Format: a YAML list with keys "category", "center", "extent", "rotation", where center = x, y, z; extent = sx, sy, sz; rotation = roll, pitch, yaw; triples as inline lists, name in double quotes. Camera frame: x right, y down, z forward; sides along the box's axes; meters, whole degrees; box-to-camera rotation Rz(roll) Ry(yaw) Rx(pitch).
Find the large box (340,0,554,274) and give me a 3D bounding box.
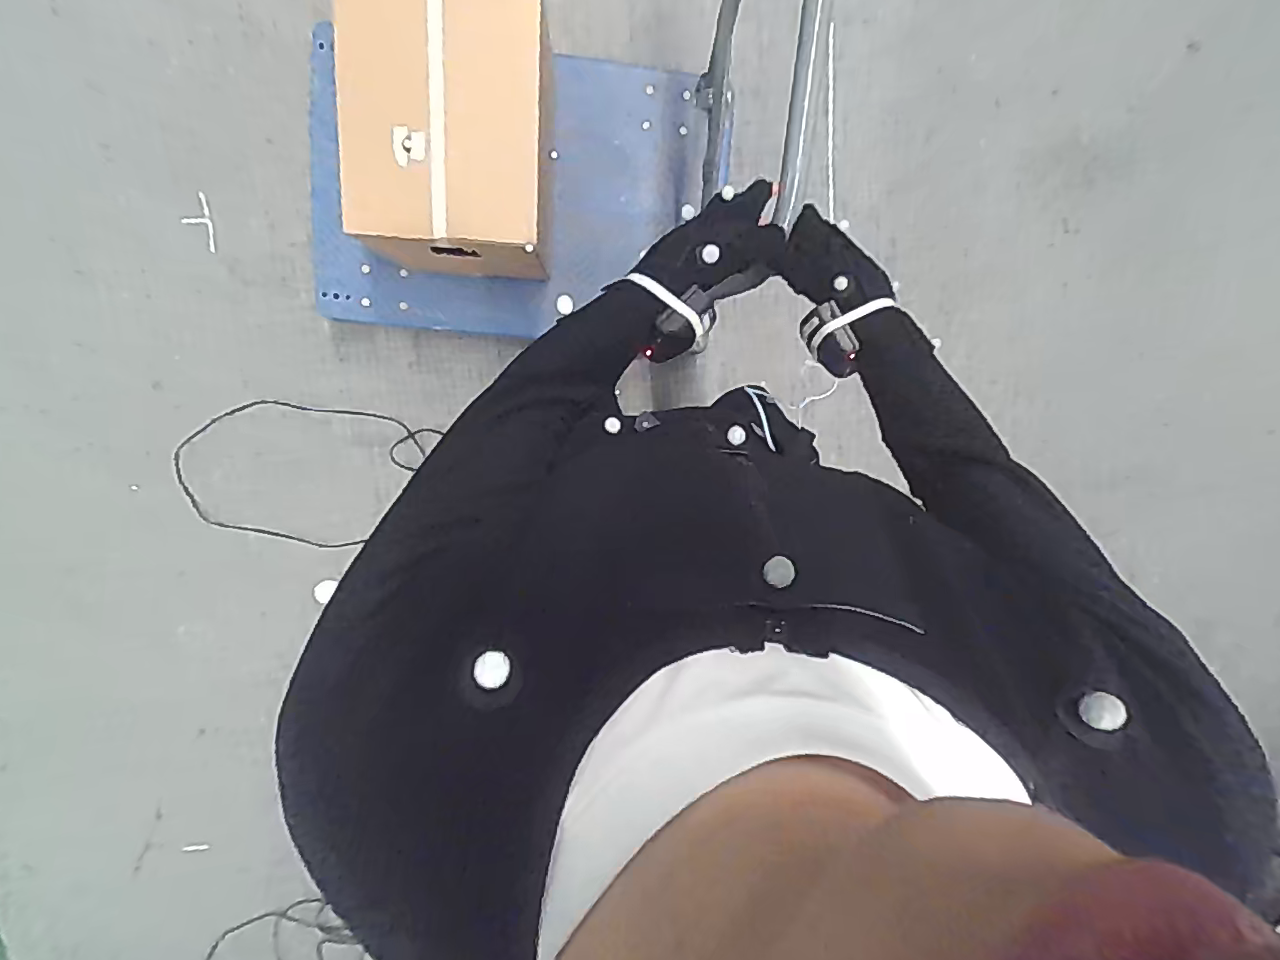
- category: "large box"
  center: [-0.320, -0.627, 0.998]
  extent: [0.320, 0.320, 0.408]
  rotation: [2, 101, -5]
